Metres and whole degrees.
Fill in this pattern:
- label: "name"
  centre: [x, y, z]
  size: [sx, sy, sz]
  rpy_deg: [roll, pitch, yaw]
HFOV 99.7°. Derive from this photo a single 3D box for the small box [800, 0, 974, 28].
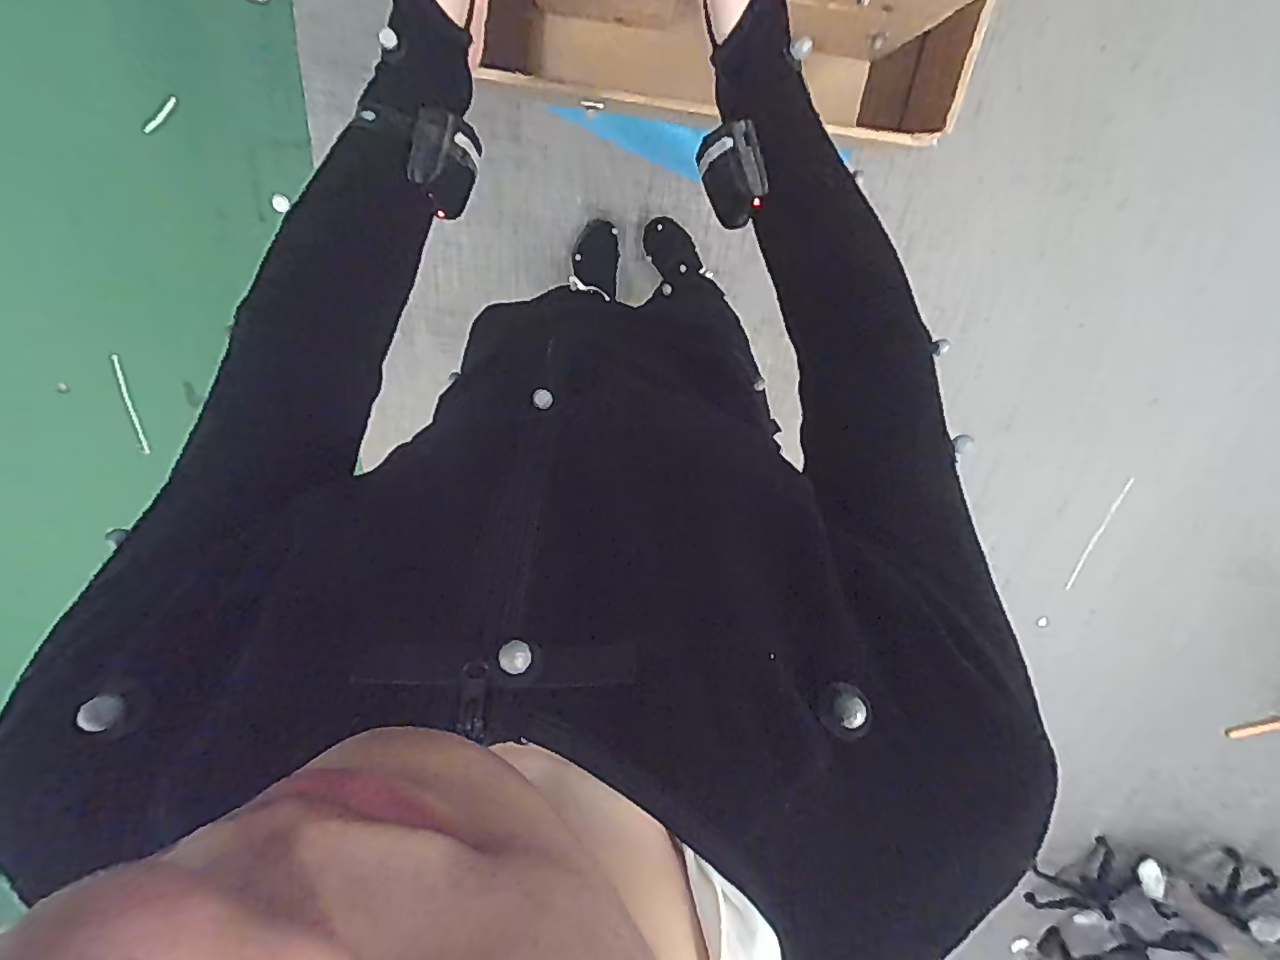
- label: "small box"
  centre: [0.246, -0.532, 0.461]
  size: [0.168, 0.176, 0.179]
  rpy_deg: [7, 117, -4]
